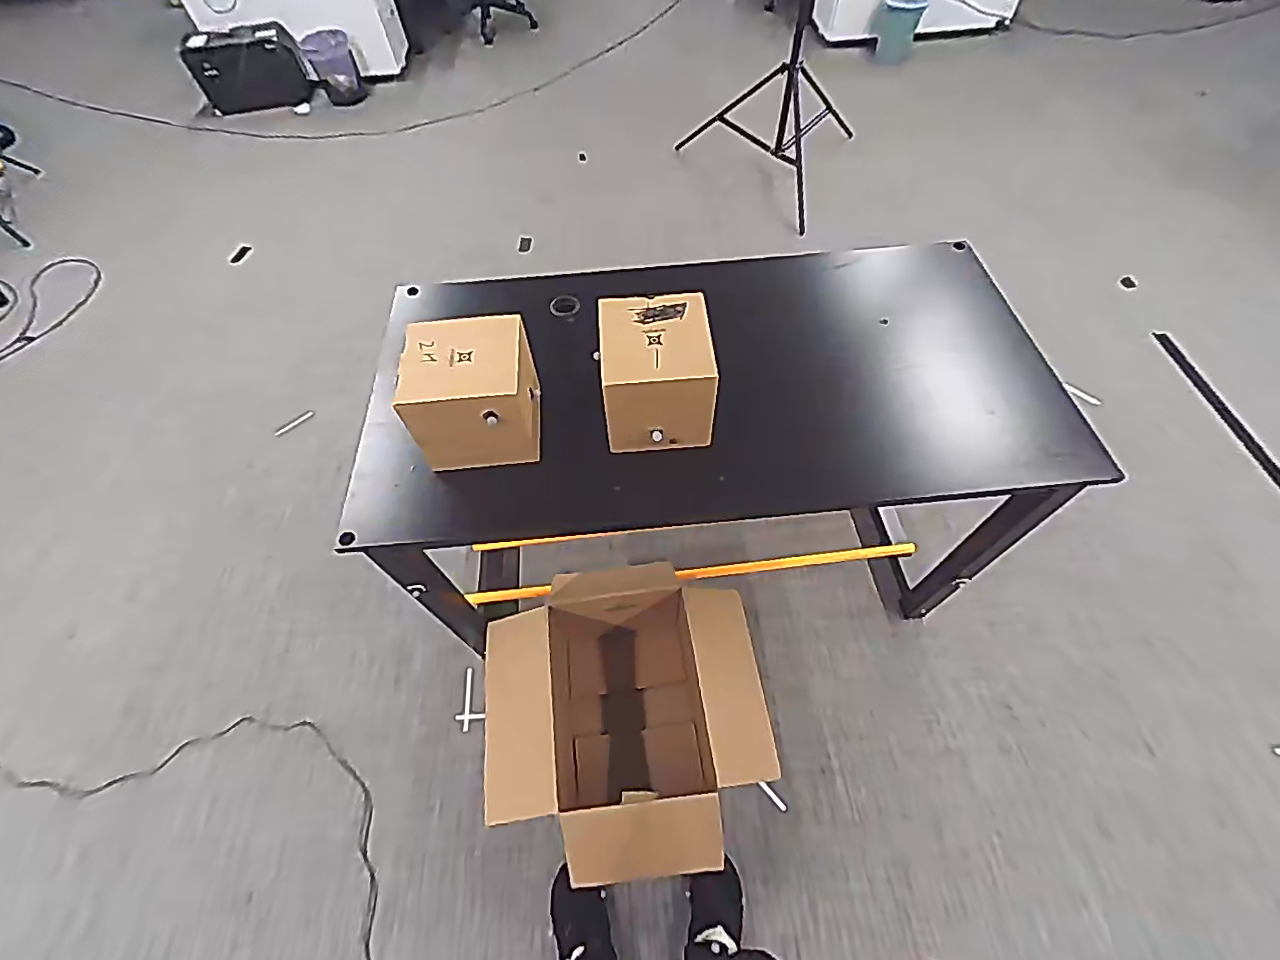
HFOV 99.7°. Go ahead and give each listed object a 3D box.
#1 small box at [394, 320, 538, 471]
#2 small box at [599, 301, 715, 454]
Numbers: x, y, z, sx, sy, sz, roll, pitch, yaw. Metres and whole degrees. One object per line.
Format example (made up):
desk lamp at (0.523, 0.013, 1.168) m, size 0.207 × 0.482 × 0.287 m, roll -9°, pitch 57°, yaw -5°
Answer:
small box at (-0.261, -0.130, 0.861) m, size 0.179 × 0.176 × 0.168 m, roll -6°, pitch 57°, yaw -1°
small box at (0.022, -0.162, 0.871) m, size 0.168 × 0.176 × 0.179 m, roll -4°, pitch 58°, yaw 0°
